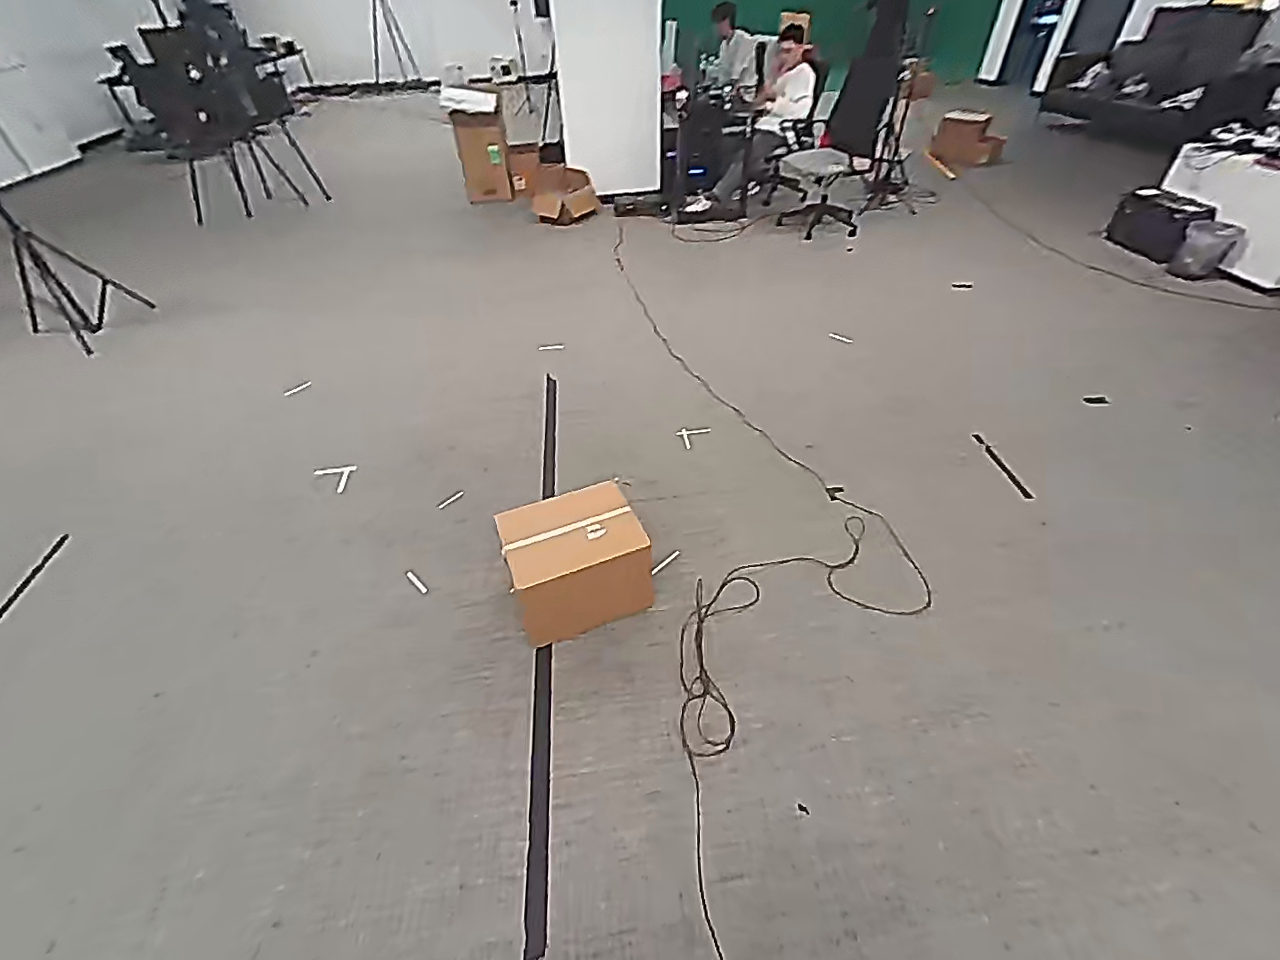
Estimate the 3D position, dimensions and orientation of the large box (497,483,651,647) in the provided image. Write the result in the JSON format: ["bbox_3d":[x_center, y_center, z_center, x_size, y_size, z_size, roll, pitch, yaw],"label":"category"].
[{"bbox_3d":[-0.205,0.267,1.730,0.408,0.320,0.320,-16,45,-16],"label":"large box"}]
